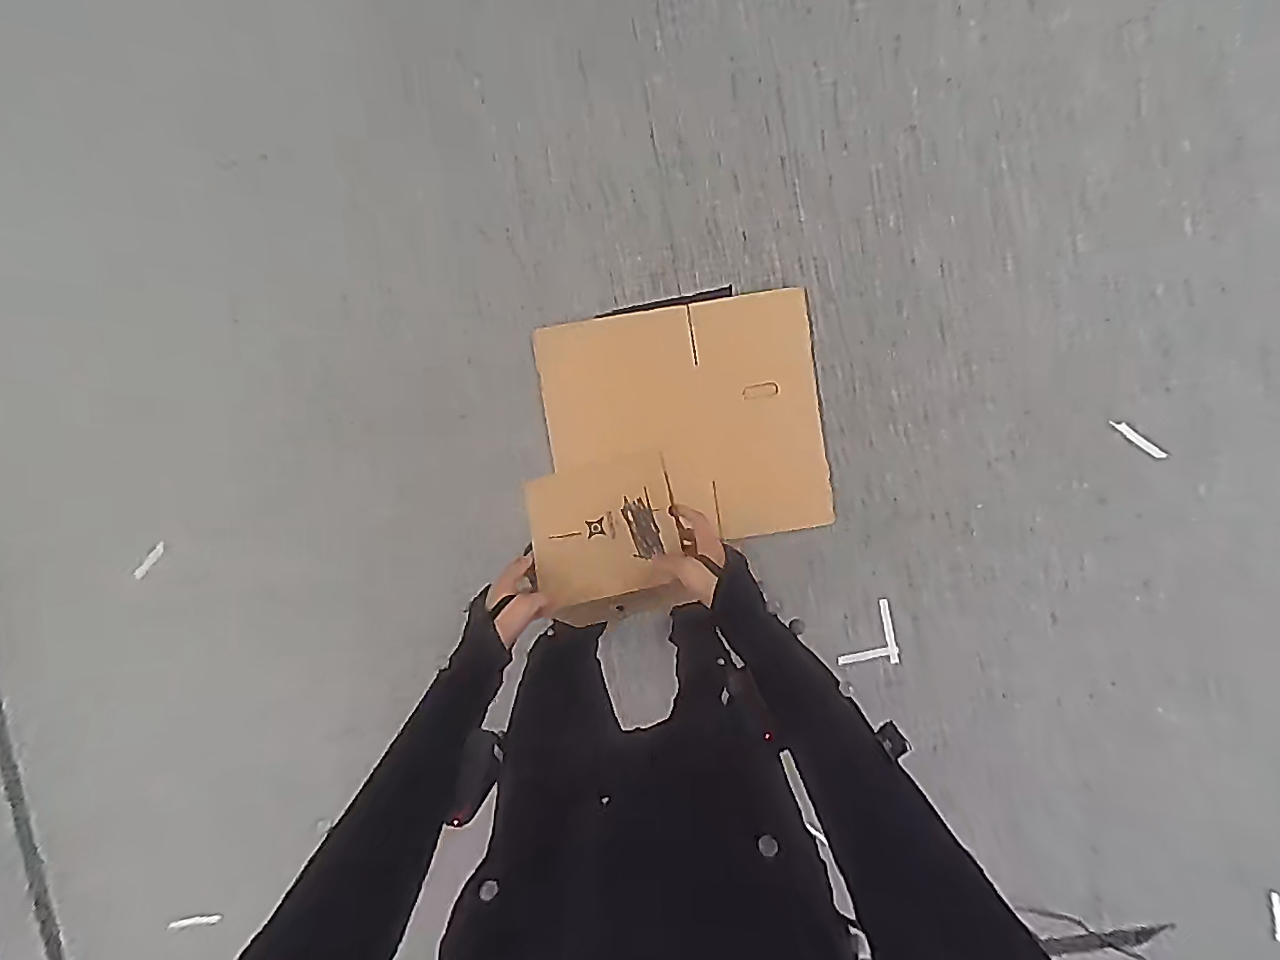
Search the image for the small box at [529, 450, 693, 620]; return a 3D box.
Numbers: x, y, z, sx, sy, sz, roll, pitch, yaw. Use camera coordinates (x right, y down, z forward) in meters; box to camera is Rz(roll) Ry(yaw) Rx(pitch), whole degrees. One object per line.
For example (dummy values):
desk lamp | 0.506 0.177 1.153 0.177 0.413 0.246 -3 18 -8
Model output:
small box | -0.030 0.081 0.711 0.179 0.176 0.168 -13 68 4
